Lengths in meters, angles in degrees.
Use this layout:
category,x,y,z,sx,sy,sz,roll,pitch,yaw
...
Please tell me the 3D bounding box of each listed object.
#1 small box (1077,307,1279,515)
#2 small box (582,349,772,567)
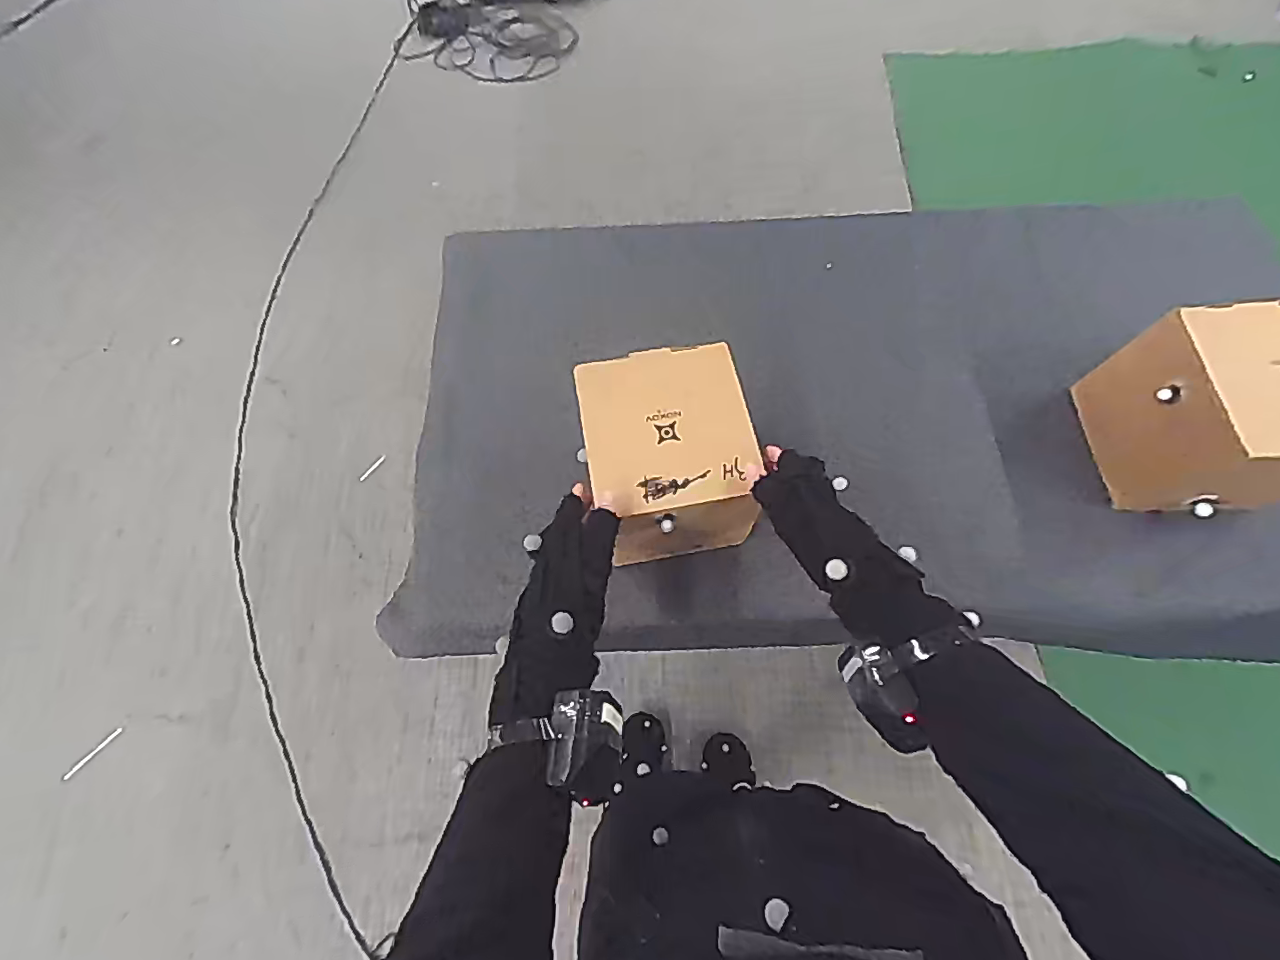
category,x,y,z,sx,sy,sz,roll,pitch,yaw
small box,0.650,-0.070,0.610,0.168,0.176,0.179,-3,69,3
small box,0.034,-0.018,0.611,0.168,0.176,0.179,-10,66,-1
